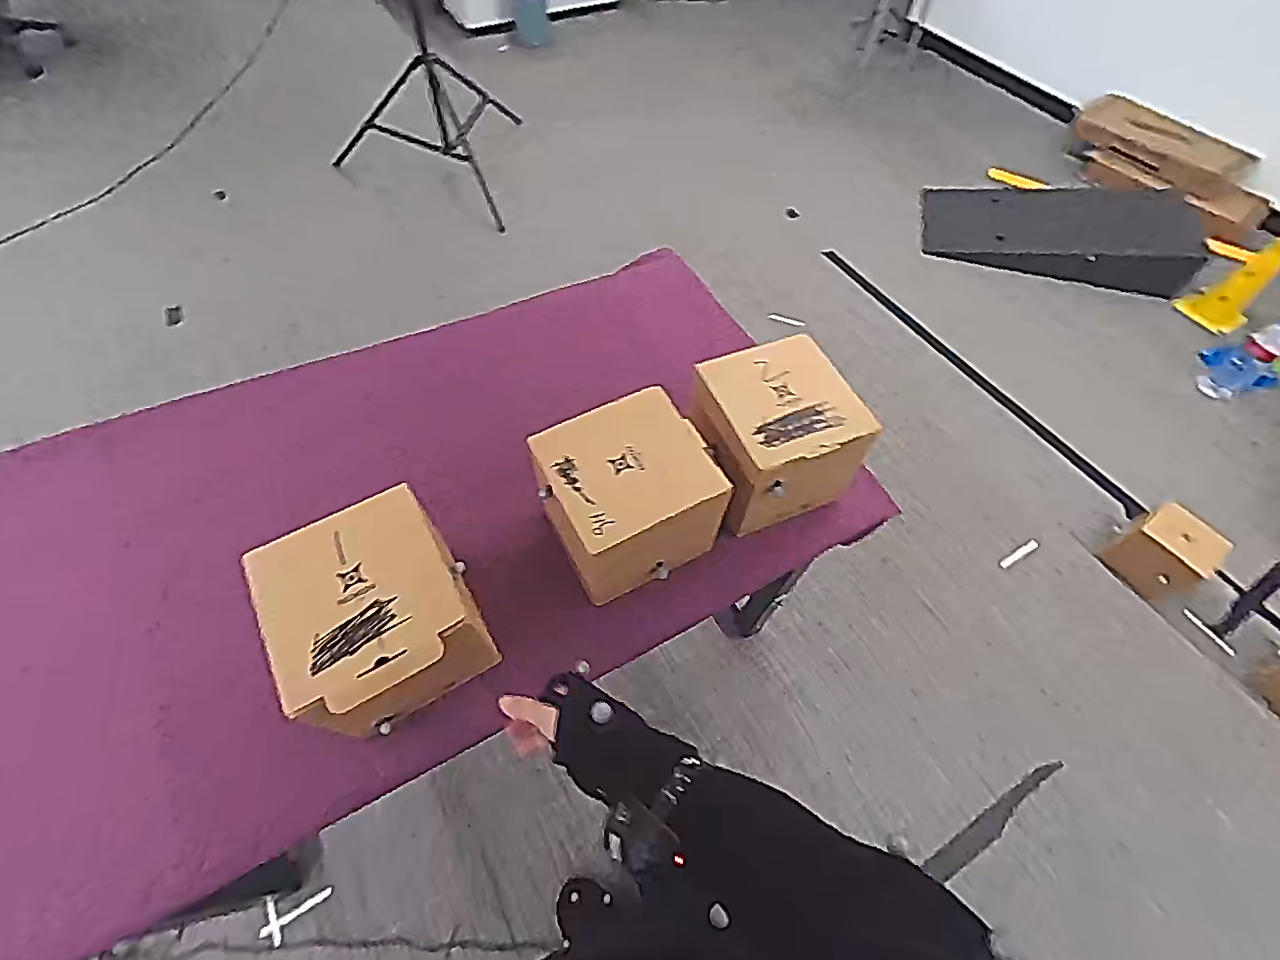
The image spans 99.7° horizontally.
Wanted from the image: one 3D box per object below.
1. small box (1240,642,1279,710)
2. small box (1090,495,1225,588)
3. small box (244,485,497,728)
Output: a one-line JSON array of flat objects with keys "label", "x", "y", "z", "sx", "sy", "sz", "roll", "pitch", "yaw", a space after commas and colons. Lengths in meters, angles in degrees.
[{"label": "small box", "x": 1.668, "y": 0.488, "z": 1.320, "sx": 0.168, "sy": 0.176, "sz": 0.179, "roll": -22, "pitch": 63, "yaw": -16}, {"label": "small box", "x": 1.422, "y": 0.179, "z": 1.496, "sx": 0.168, "sy": 0.176, "sz": 0.179, "roll": -31, "pitch": 64, "yaw": -21}, {"label": "small box", "x": -0.272, "y": 0.143, "z": 0.579, "sx": 0.168, "sy": 0.176, "sz": 0.179, "roll": -28, "pitch": 64, "yaw": -18}]
